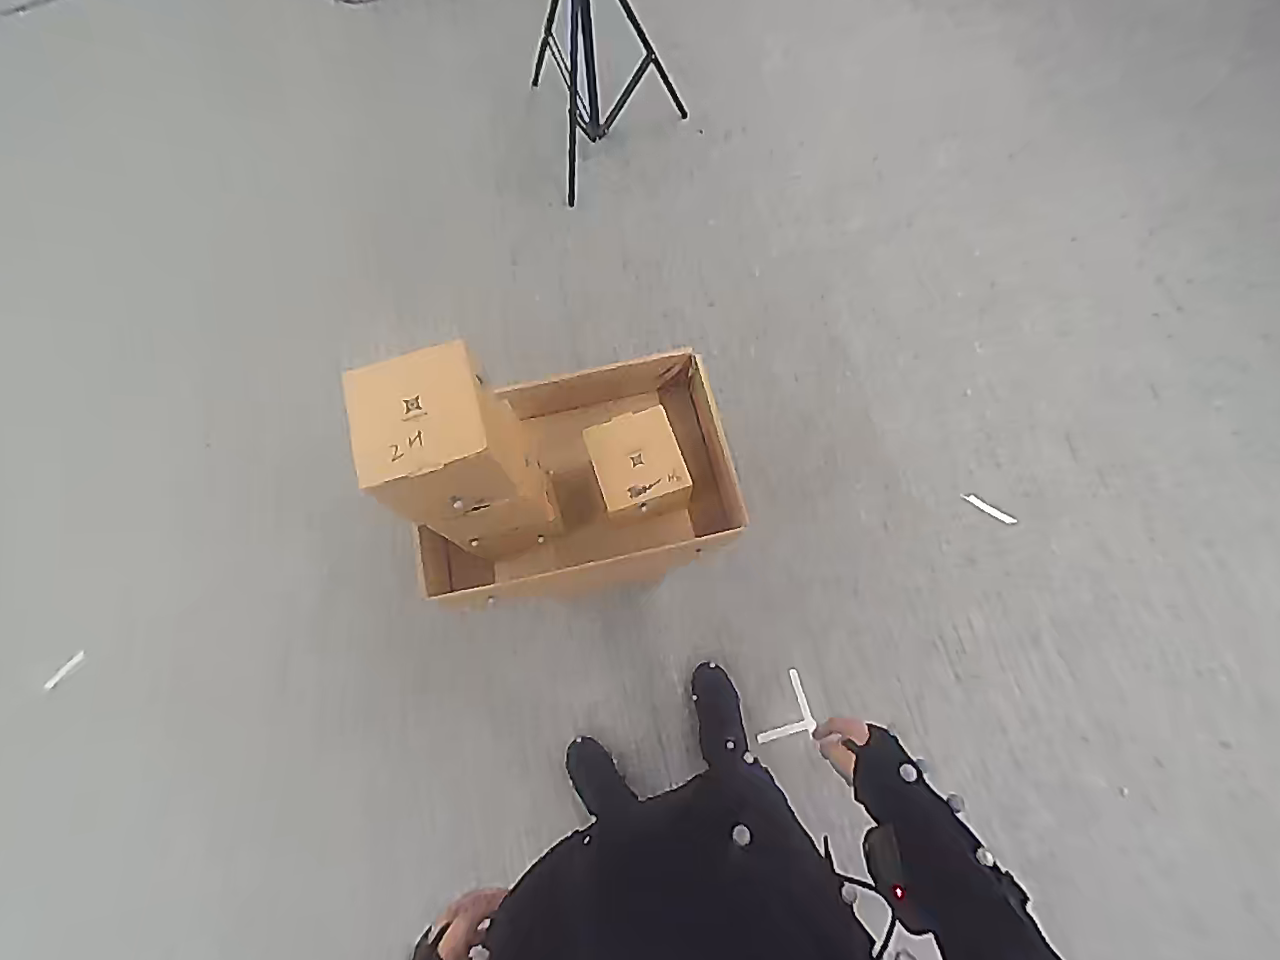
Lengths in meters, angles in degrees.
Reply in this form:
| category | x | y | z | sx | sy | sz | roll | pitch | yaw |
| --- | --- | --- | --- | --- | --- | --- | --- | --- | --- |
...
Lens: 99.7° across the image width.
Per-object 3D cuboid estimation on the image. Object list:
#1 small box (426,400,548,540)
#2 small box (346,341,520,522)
| category | x | y | z | sx | sy | sz | roll | pitch | yaw |
| --- | --- | --- | --- | --- | --- | --- | --- | --- | --- |
| small box | -0.265 | -0.005 | 0.922 | 0.168 | 0.176 | 0.179 | -16 | 71 | -4 |
| small box | -0.284 | -0.061 | 0.766 | 0.168 | 0.176 | 0.179 | -18 | 71 | -4 |
